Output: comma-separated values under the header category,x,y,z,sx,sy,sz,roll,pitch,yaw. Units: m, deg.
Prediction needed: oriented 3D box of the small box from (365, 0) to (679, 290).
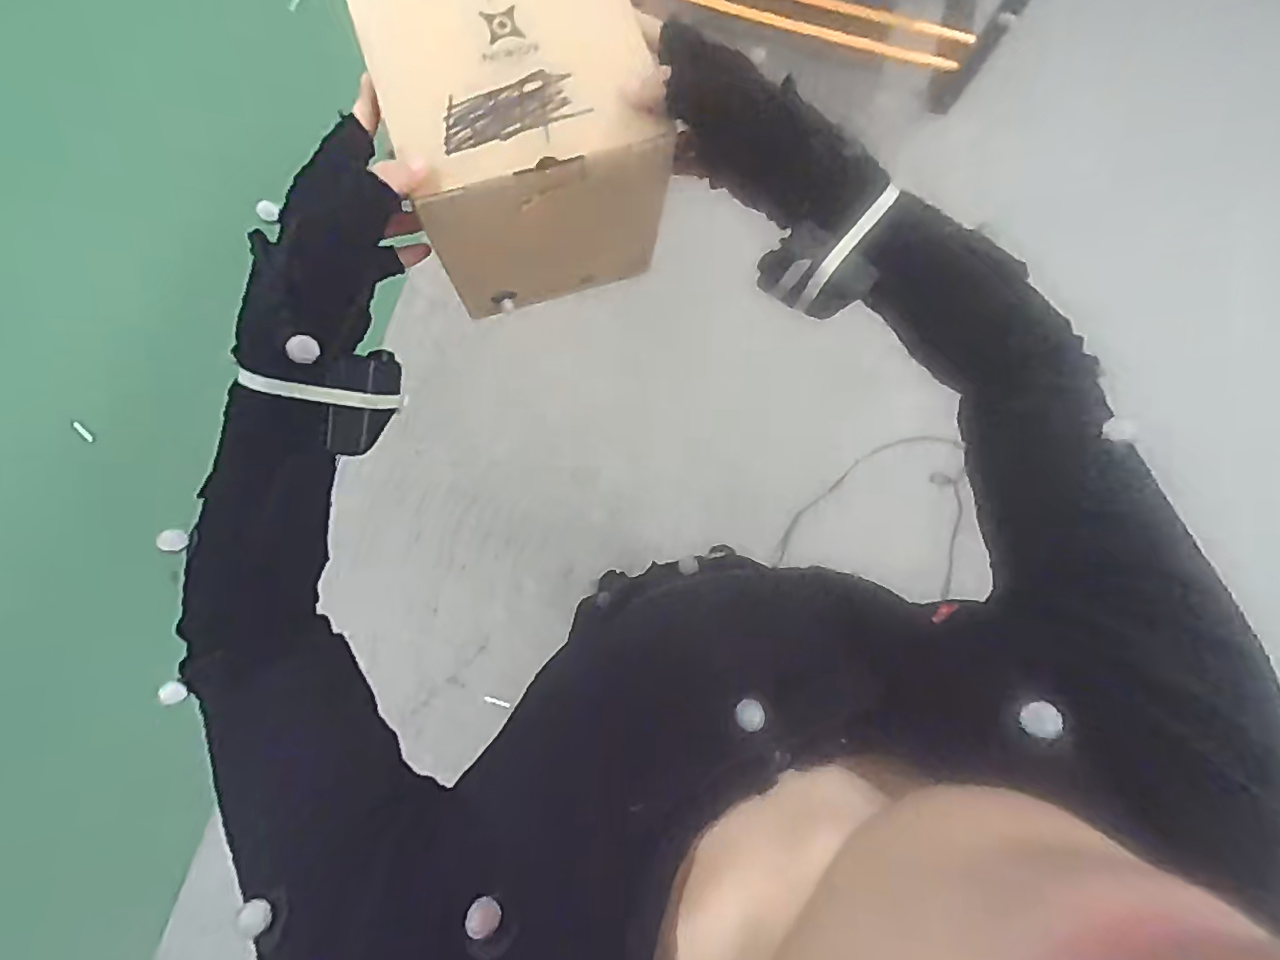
category,x,y,z,sx,sy,sz,roll,pitch,yaw
small box,-0.082,-0.265,0.407,0.168,0.176,0.179,-17,85,-7
